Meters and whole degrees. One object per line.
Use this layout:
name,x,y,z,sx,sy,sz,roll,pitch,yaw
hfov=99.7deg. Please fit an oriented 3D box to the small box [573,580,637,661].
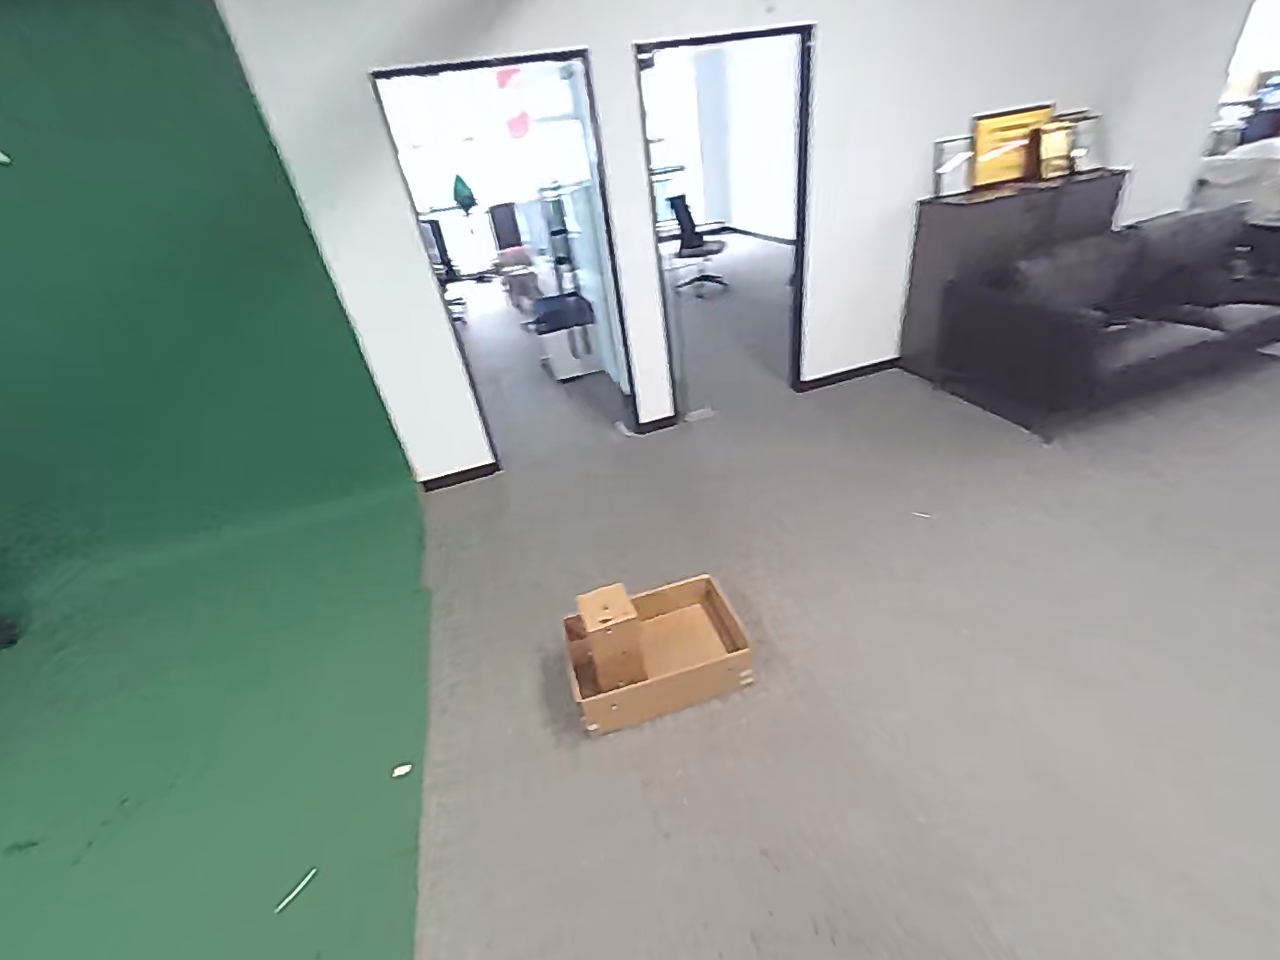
small box,-0.120,0.476,1.832,0.168,0.176,0.179,-17,33,-12
